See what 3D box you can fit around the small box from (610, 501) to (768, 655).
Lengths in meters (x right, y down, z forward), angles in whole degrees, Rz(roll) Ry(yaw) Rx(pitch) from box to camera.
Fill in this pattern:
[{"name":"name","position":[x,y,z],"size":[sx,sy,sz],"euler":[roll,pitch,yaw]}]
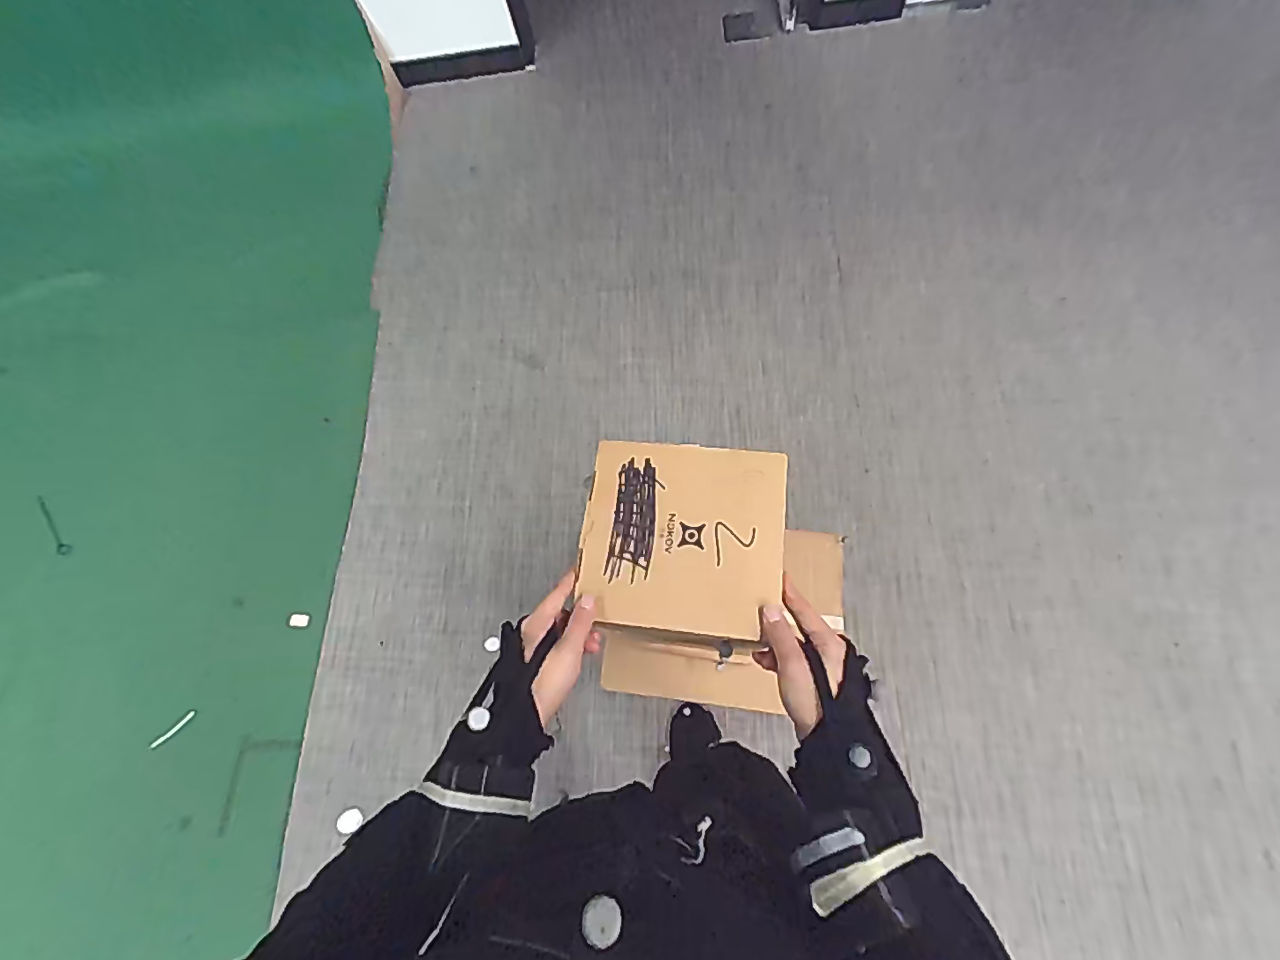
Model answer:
[{"name":"small box","position":[0.069,0.135,0.713],"size":[0.179,0.176,0.168],"euler":[4,71,8]}]

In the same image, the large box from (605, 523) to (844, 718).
[{"name":"large box","position":[0.161,0.277,1.084],"size":[0.408,0.320,0.320],"euler":[4,73,7]}]

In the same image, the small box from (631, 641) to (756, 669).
[{"name":"small box","position":[0.092,0.202,0.859],"size":[0.179,0.176,0.168],"euler":[5,71,9]}]
